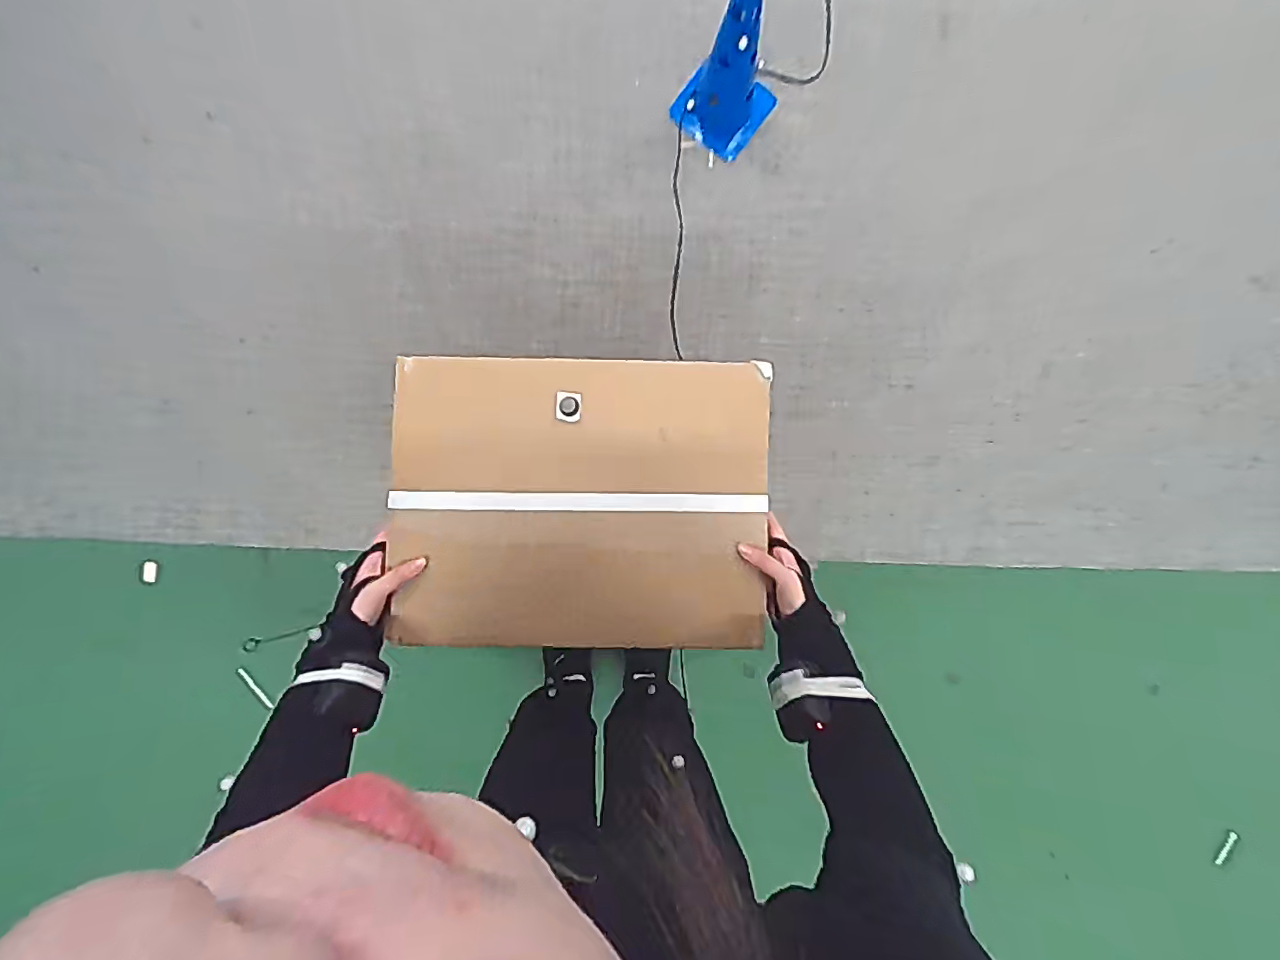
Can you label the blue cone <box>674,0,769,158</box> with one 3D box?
[{"bbox_3d":[0.195,-0.880,1.122,0.192,0.380,0.193,35,91,0],"label":"blue cone"}]
